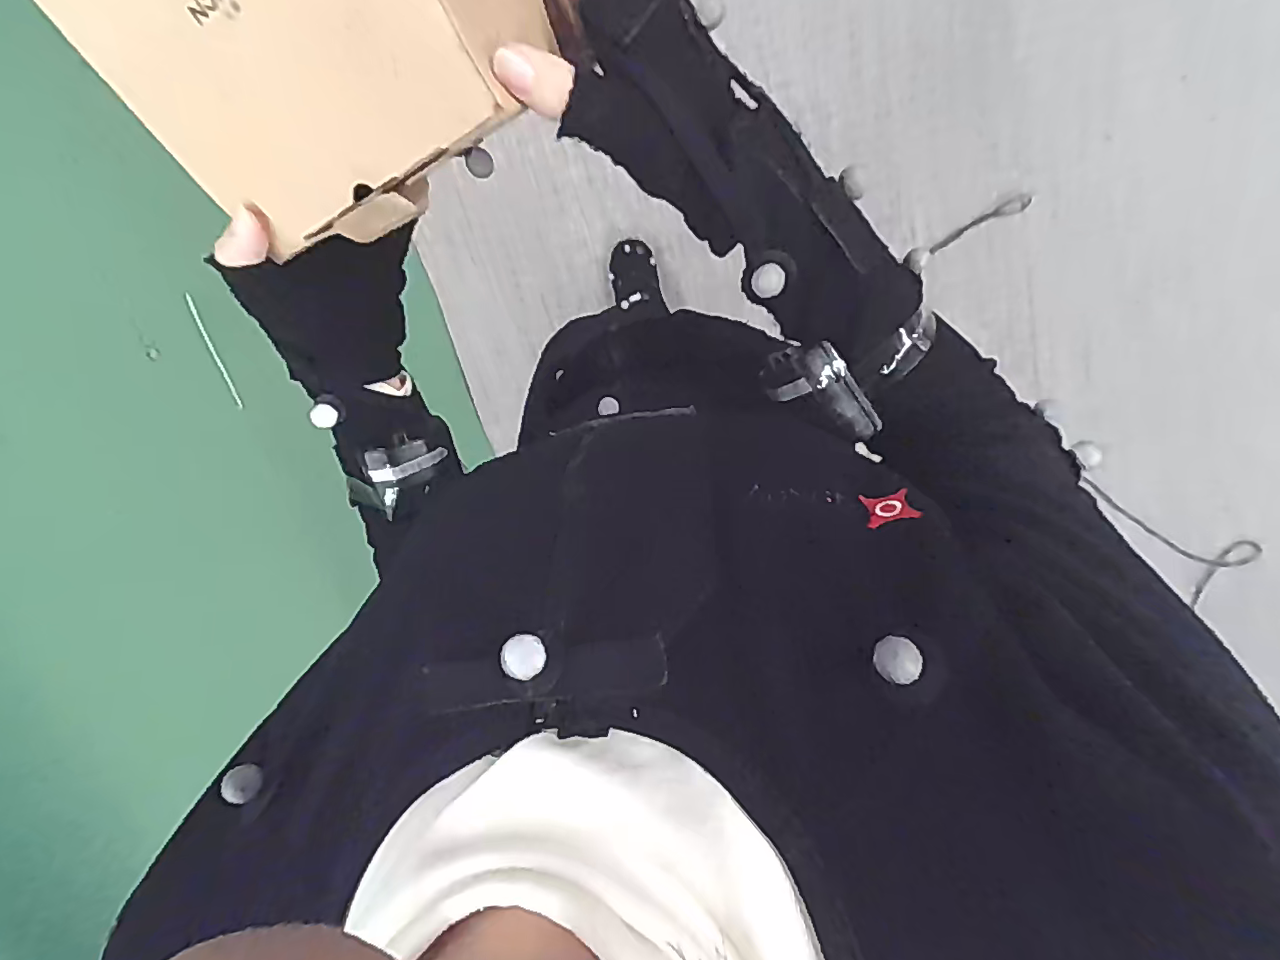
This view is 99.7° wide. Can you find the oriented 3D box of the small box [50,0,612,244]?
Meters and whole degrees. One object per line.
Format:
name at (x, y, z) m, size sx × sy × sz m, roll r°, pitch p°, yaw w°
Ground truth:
small box at (-0.135, -0.246, 0.242) m, size 0.168 × 0.176 × 0.179 m, roll -9°, pitch 131°, yaw 29°
